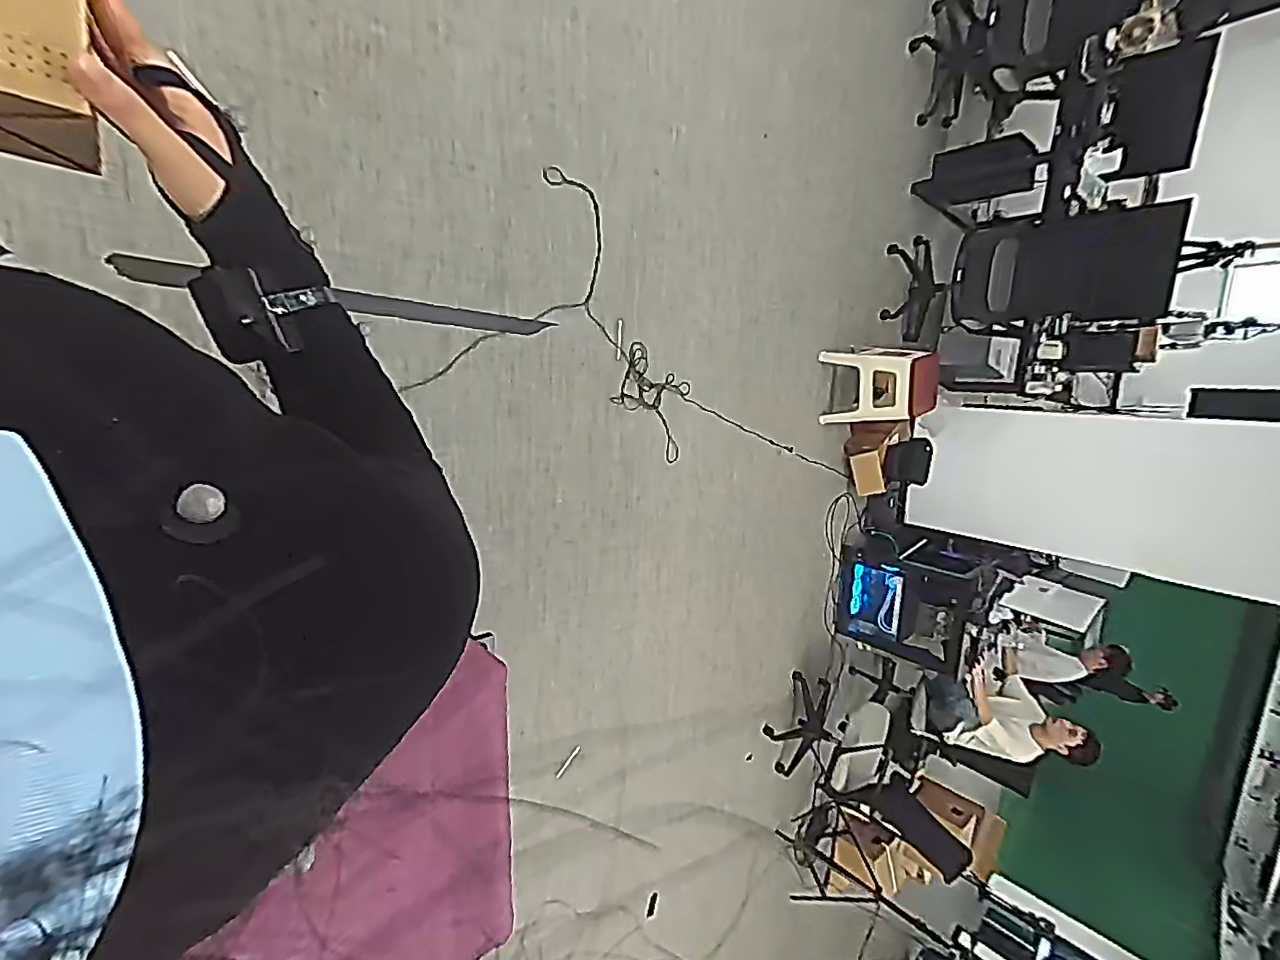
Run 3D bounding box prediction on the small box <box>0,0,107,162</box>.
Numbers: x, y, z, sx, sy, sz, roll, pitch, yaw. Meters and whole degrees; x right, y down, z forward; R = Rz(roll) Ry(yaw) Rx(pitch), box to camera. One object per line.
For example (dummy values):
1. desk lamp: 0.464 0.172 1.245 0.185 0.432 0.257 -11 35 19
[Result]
1. small box: -0.410 -0.298 0.293 0.168 0.179 0.176 -2 104 -43
